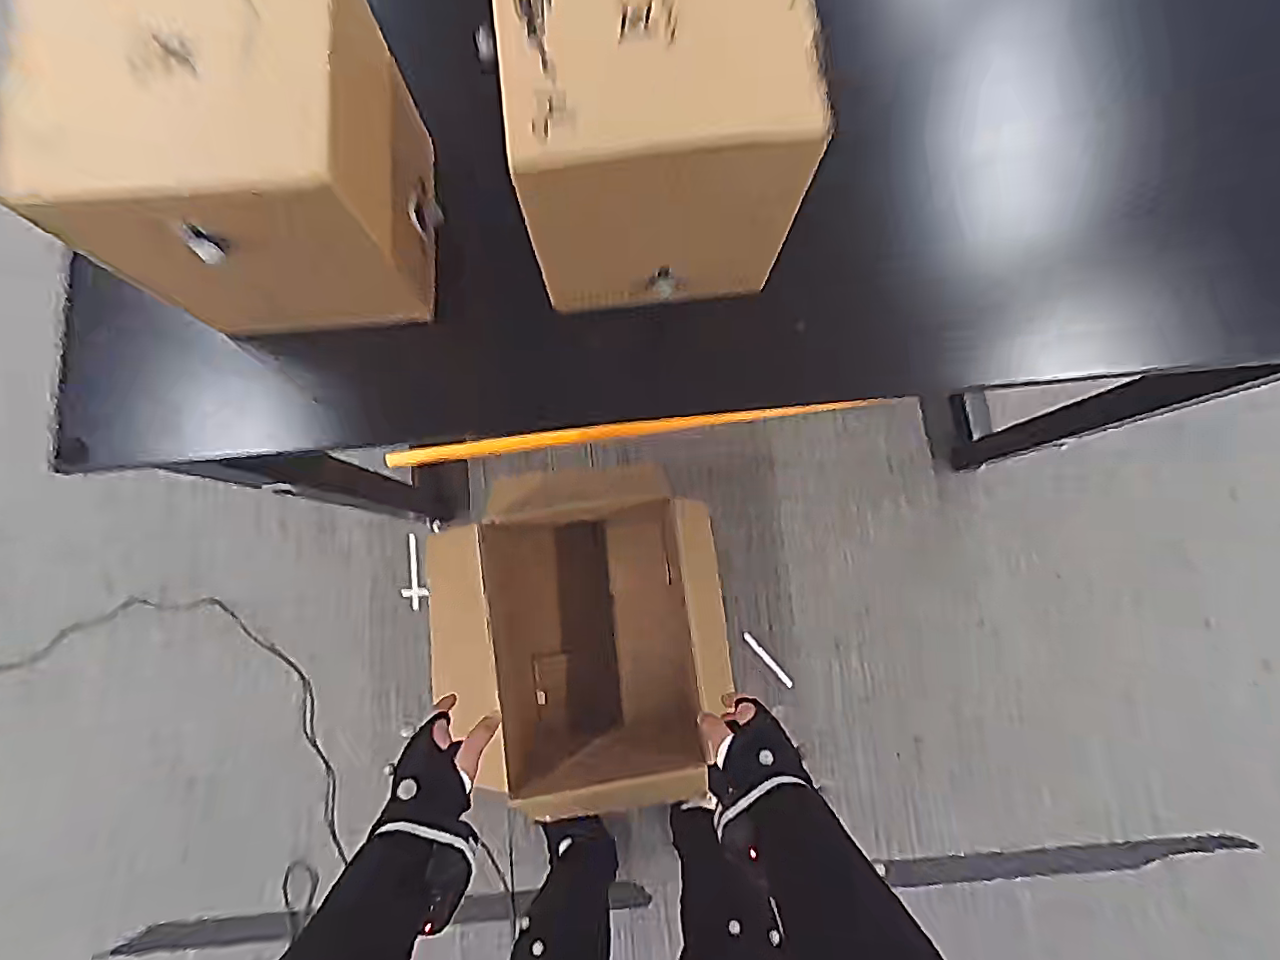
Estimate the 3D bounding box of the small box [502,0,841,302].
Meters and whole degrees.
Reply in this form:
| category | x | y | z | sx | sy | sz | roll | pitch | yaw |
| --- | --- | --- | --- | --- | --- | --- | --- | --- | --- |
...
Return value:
| category | x | y | z | sx | sy | sz | roll | pitch | yaw |
| --- | --- | --- | --- | --- | --- | --- | --- | --- | --- |
| small box | 0.010 | -0.241 | 0.372 | 0.179 | 0.176 | 0.168 | -7 | 81 | -3 |

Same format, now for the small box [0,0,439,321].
| category | x | y | z | sx | sy | sz | roll | pitch | yaw |
| --- | --- | --- | --- | --- | --- | --- | --- | --- | --- |
| small box | -0.253 | -0.220 | 0.364 | 0.179 | 0.176 | 0.168 | -5 | 82 | -3 |
